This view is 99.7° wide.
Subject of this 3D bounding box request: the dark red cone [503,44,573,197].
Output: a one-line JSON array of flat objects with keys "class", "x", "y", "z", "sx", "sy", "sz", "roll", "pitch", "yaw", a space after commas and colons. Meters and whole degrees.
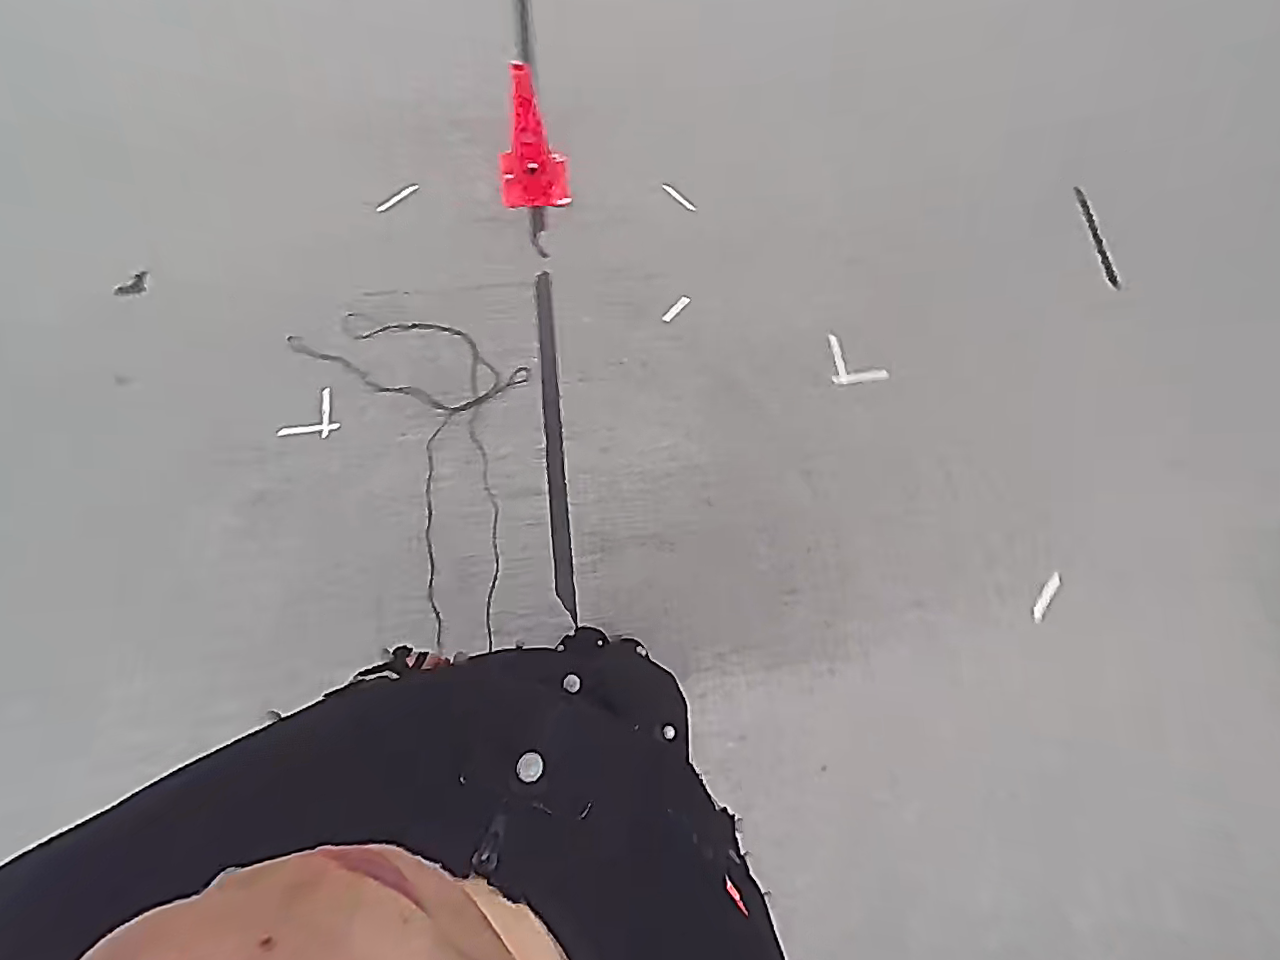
[{"class": "dark red cone", "x": -0.299, "y": -0.988, "z": 1.481, "sx": 0.201, "sy": 0.394, "sz": 0.202, "roll": -6, "pitch": 77, "yaw": -5}]
